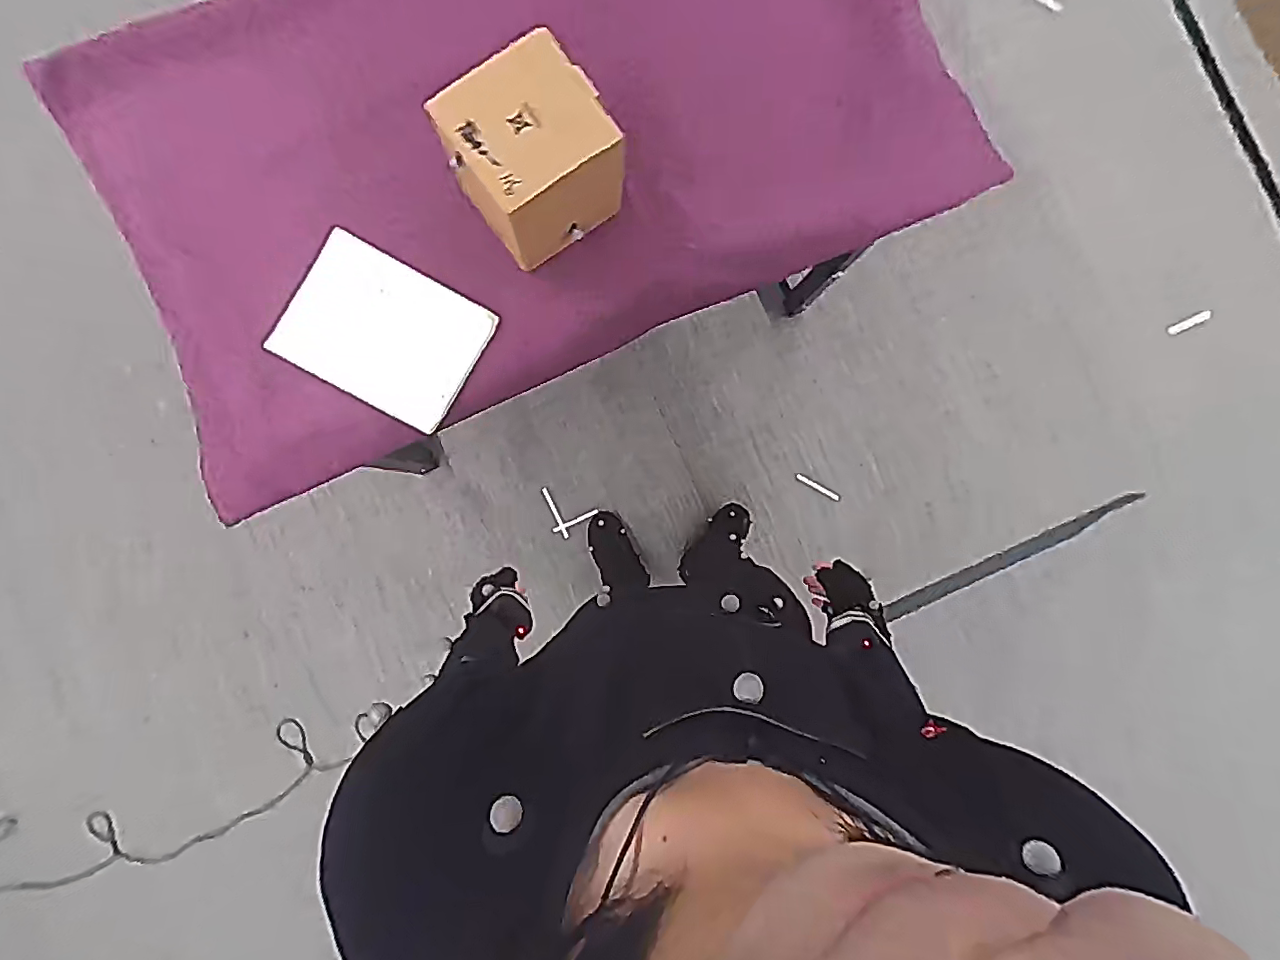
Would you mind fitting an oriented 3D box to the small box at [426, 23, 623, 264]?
[{"bbox_3d":[-0.142,-0.427,0.715,0.179,0.176,0.168,-36,89,-5],"label":"small box"}]
